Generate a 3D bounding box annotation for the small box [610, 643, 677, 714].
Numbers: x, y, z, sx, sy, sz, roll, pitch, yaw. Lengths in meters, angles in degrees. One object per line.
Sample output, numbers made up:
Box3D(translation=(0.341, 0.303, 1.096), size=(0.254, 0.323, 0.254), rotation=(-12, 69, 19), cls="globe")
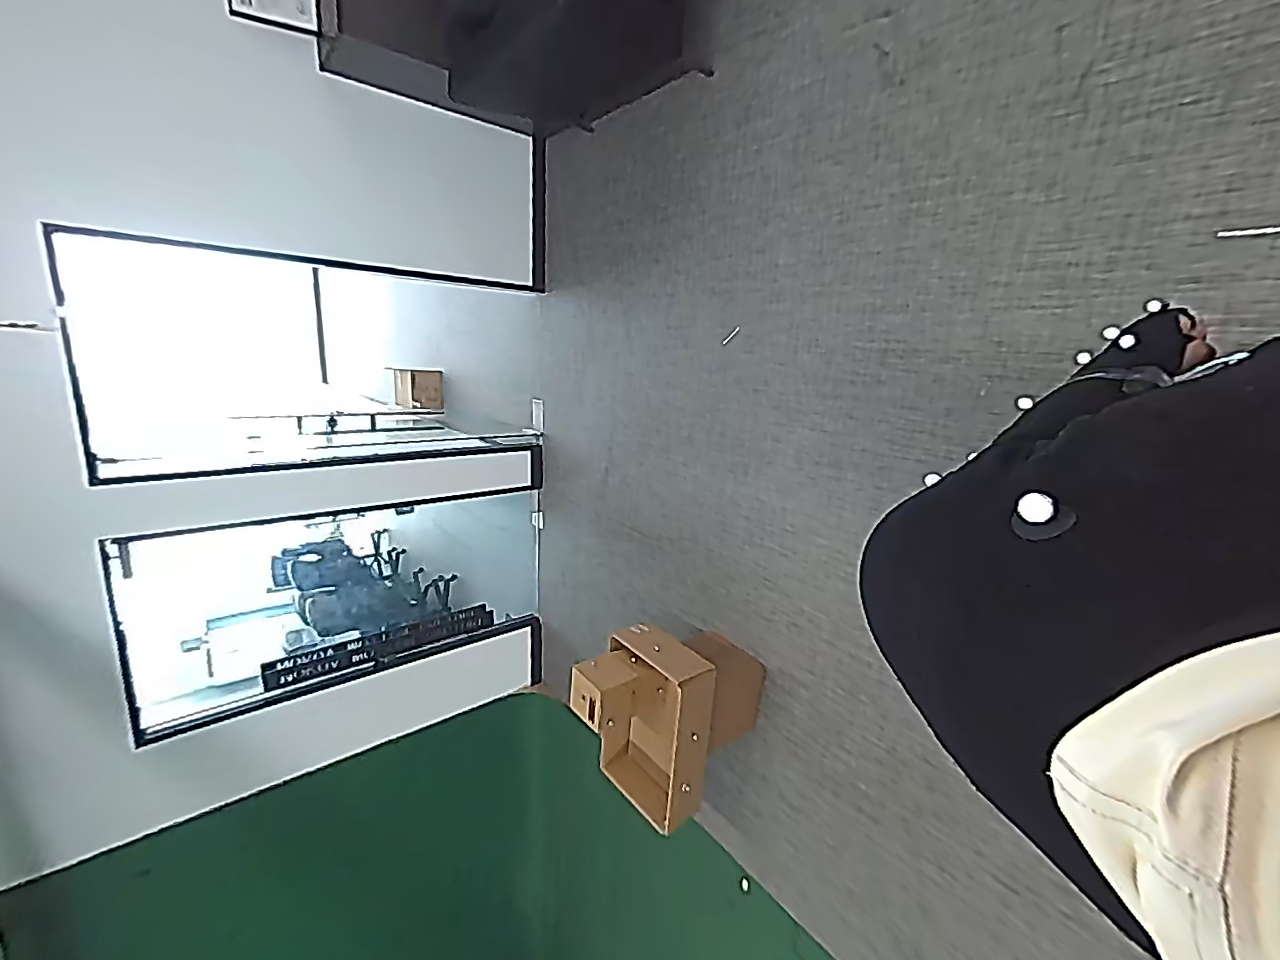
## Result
Box3D(translation=(0.012, 0.729, 2.015), size=(0.179, 0.176, 0.168), rotation=(20, 110, 47), cls="small box")
